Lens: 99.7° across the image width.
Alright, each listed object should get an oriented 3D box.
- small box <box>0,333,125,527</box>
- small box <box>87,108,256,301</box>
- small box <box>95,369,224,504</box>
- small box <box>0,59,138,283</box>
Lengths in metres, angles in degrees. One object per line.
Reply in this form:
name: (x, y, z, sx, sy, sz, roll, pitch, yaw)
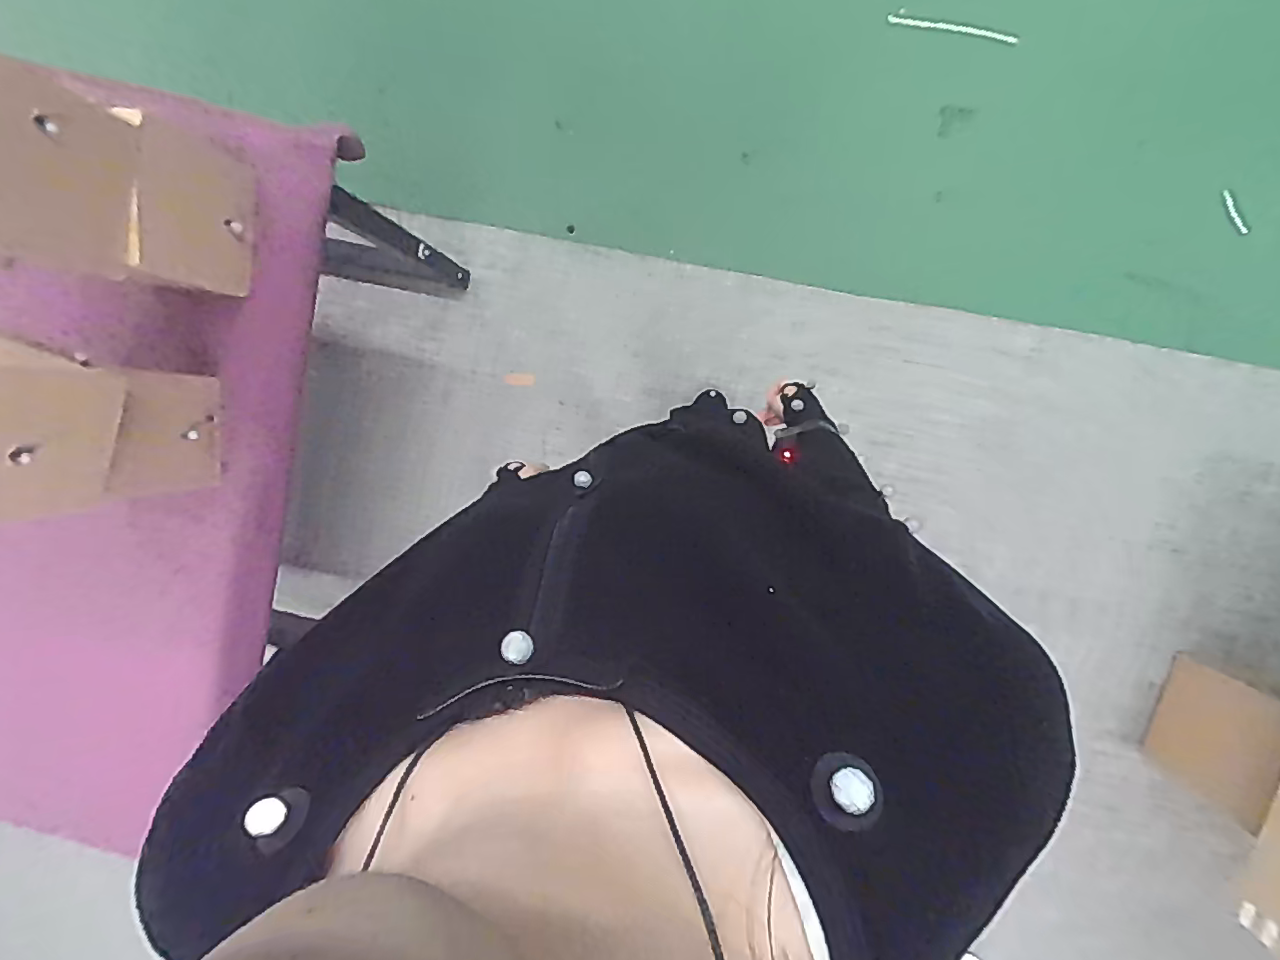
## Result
small box: (-0.717, -0.060, 0.581, 0.168, 0.176, 0.179, 21, 99, 4)
small box: (-0.643, -0.350, 0.707, 0.168, 0.176, 0.179, 9, 97, 4)
small box: (-0.728, -0.067, 0.747, 0.179, 0.176, 0.168, 6, 97, 5)
small box: (-0.668, -0.322, 0.547, 0.168, 0.176, 0.179, 15, 98, 3)
